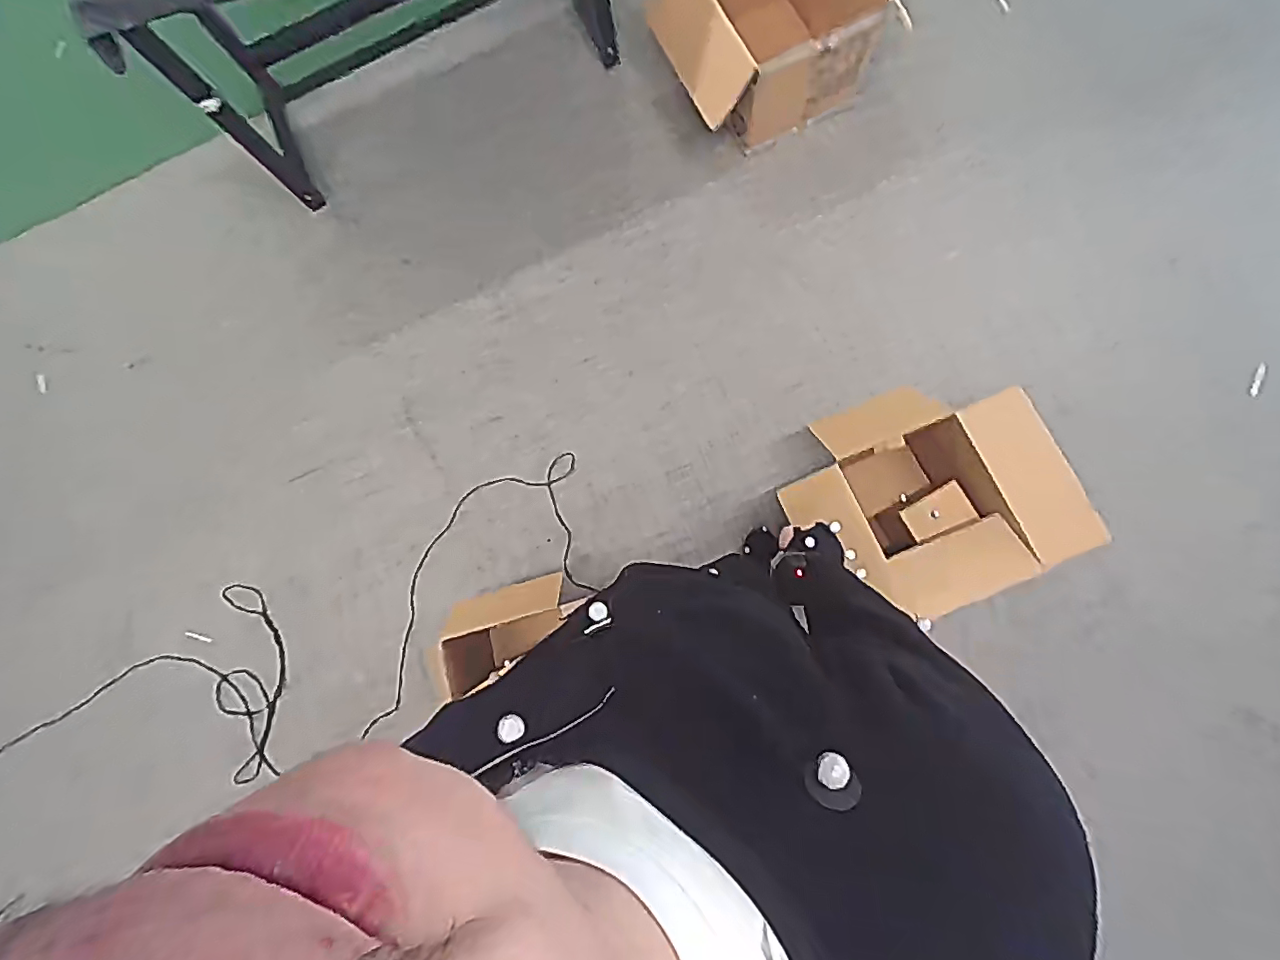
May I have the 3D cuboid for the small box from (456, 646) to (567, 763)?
[{"bbox_3d":[-0.292,0.515,1.270,0.168,0.176,0.179,-32,81,-1],"label":"small box"}]
